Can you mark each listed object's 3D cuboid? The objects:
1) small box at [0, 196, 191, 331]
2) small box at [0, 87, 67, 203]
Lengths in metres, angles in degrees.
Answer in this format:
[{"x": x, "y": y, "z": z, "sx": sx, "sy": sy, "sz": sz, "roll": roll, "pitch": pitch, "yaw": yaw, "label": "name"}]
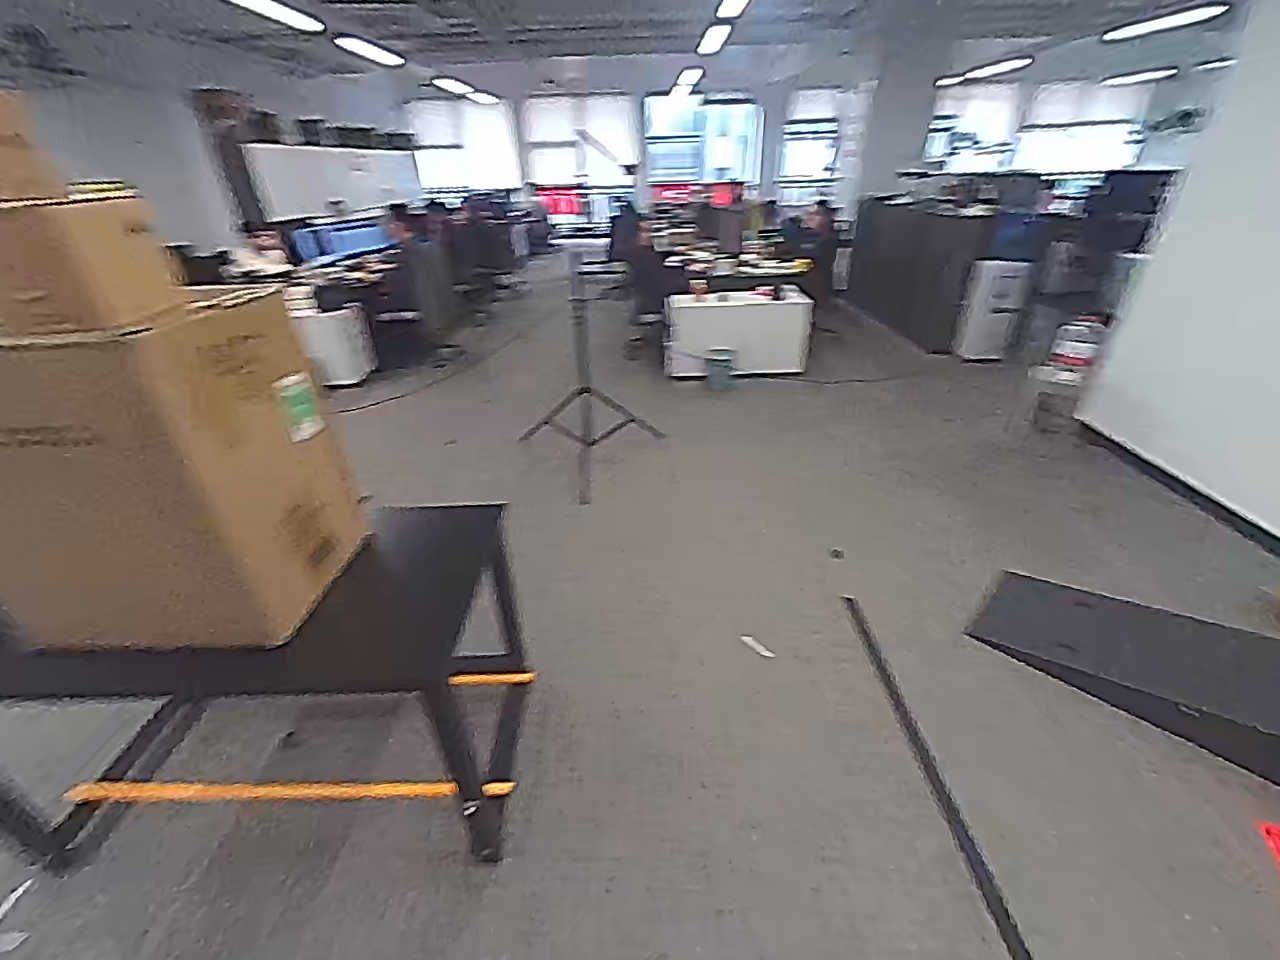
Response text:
[{"x": -0.850, "y": -0.337, "z": 0.836, "sx": 0.168, "sy": 0.176, "sz": 0.179, "roll": -4, "pitch": 31, "yaw": 0, "label": "small box"}, {"x": -1.124, "y": -0.550, "z": 0.895, "sx": 0.168, "sy": 0.176, "sz": 0.179, "roll": 0, "pitch": 30, "yaw": 3, "label": "small box"}]
